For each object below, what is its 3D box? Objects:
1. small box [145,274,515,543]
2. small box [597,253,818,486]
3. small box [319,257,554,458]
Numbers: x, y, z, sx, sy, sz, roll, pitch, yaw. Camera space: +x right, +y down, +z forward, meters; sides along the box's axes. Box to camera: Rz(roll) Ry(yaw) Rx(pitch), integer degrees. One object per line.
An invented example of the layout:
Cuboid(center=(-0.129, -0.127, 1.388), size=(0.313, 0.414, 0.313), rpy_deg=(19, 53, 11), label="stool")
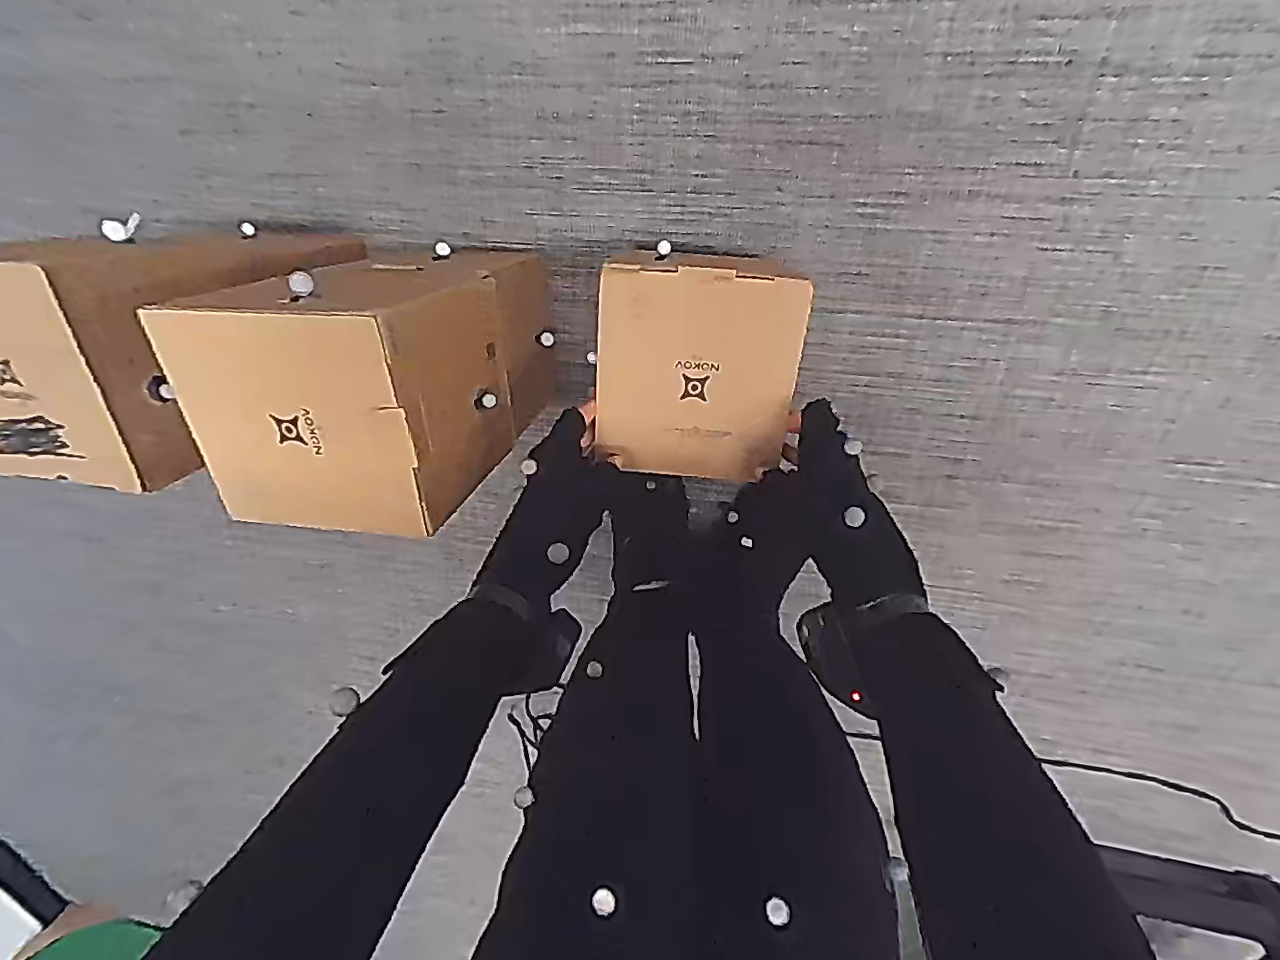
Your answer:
Cuboid(center=(-0.223, -0.069, 0.444), size=(0.179, 0.176, 0.168), rpy_deg=(4, 119, 9), label="small box")
Cuboid(center=(0.053, -0.115, 0.517), size=(0.168, 0.176, 0.179), rpy_deg=(5, 117, 2), label="small box")
Cuboid(center=(-0.200, -0.142, 0.588), size=(0.168, 0.176, 0.179), rpy_deg=(6, 118, 10), label="small box")
